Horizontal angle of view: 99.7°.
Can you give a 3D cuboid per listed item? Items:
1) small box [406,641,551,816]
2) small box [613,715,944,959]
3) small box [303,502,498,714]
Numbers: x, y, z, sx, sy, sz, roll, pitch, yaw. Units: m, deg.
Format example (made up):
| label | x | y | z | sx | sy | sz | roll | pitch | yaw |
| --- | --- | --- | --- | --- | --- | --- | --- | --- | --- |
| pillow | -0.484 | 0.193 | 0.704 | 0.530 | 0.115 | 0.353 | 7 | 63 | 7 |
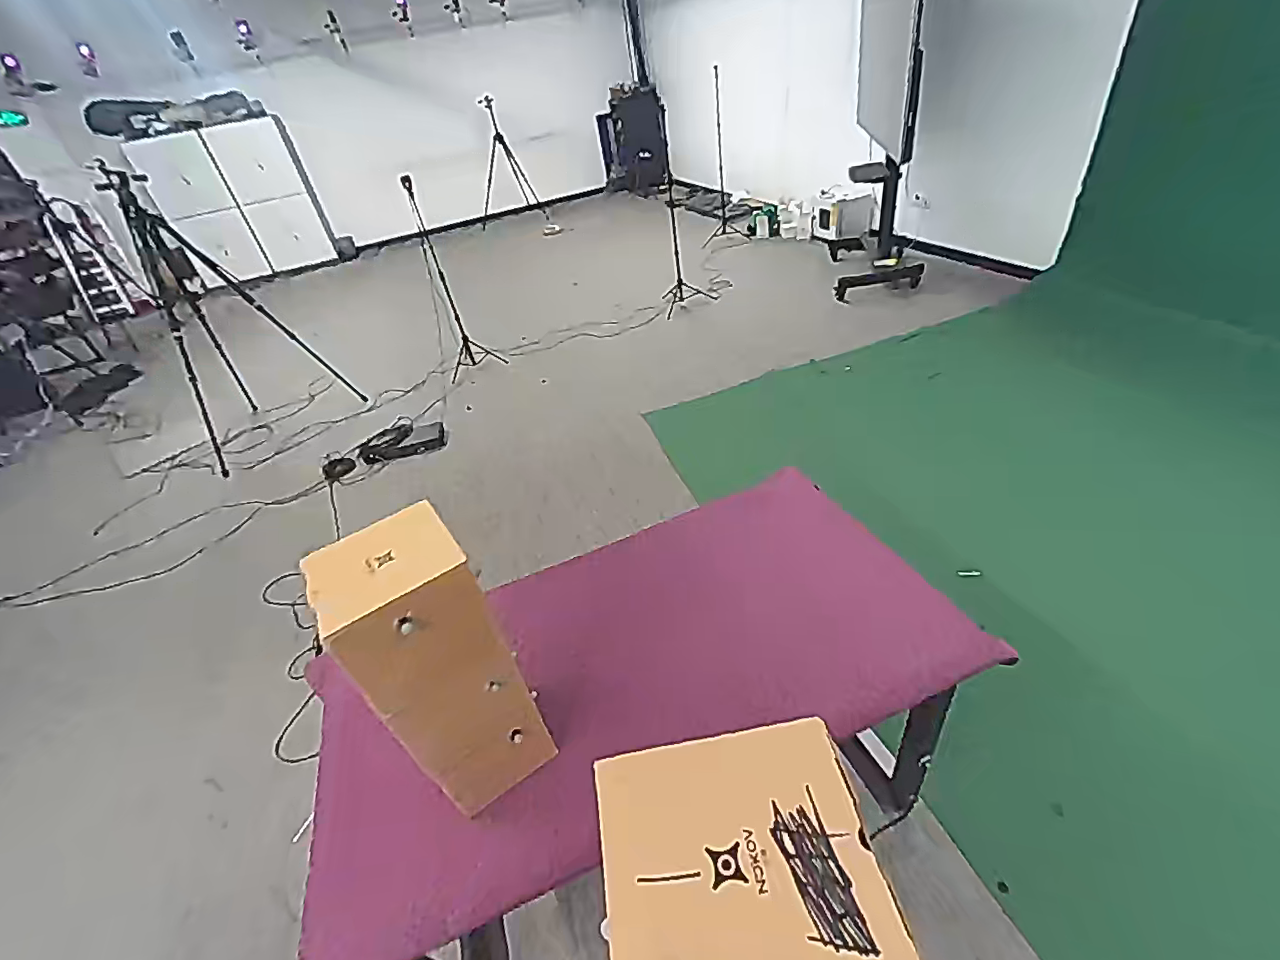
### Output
| label | x | y | z | sx | sy | sz | roll | pitch | yaw |
| --- | --- | --- | --- | --- | --- | --- | --- | --- | --- |
| small box | -0.267 | 0.420 | 0.920 | 0.179 | 0.176 | 0.168 | -28 | 40 | -22 |
| small box | 0.081 | 0.301 | 0.394 | 0.179 | 0.176 | 0.168 | -9 | 39 | -3 |
| small box | -0.305 | 0.165 | 0.718 | 0.179 | 0.176 | 0.168 | -29 | 42 | -24 |
